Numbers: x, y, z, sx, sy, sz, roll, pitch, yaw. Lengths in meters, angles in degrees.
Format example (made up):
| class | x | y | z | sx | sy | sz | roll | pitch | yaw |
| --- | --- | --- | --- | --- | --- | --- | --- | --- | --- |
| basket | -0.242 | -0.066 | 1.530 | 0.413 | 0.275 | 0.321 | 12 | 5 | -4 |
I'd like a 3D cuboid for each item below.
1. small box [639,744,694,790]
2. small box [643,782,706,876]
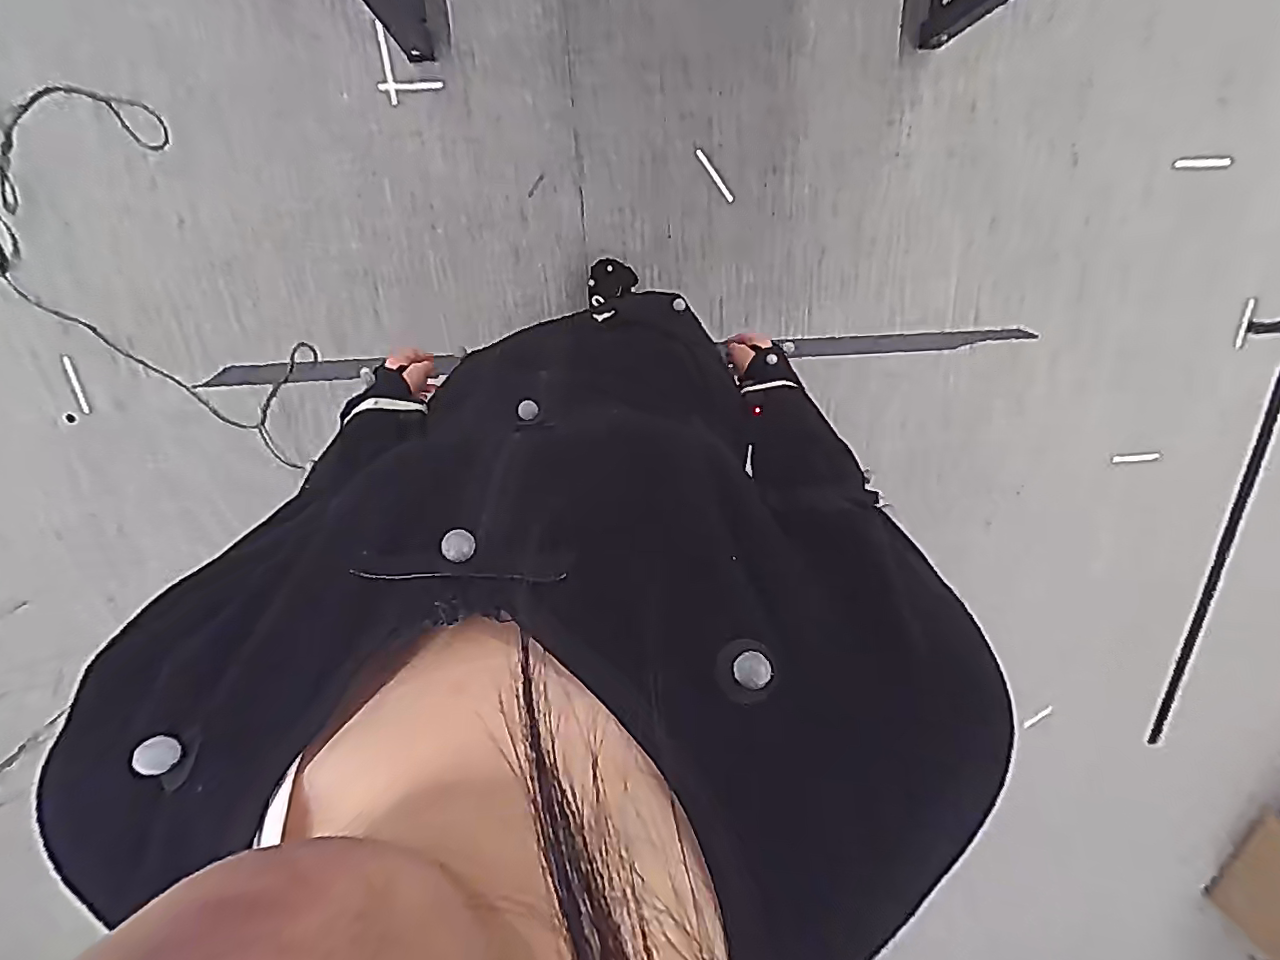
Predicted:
| class | x | y | z | sx | sy | sz | roll | pitch | yaw |
| --- | --- | --- | --- | --- | --- | --- | --- | --- | --- |
| small box | 0.091 | 1.023 | 1.837 | 0.168 | 0.176 | 0.179 | -8 | 111 | -2 |
| small box | 0.106 | 1.083 | 1.684 | 0.168 | 0.176 | 0.179 | -9 | 111 | -2 |
